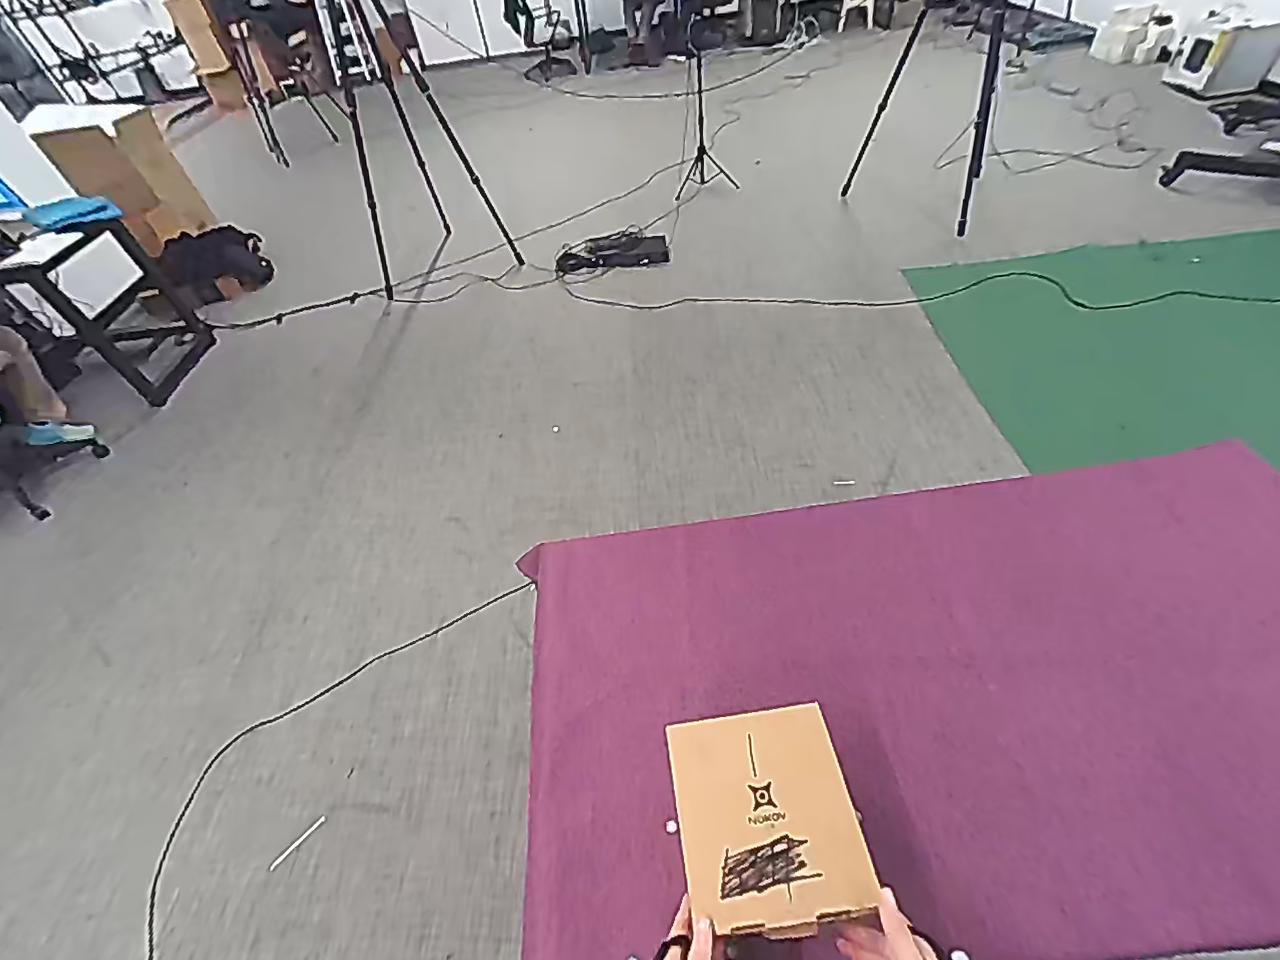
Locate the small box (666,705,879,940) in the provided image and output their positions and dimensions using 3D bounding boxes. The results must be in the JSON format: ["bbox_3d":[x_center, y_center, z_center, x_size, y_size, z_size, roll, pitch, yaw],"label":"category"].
[{"bbox_3d":[0.125,0.365,0.571,0.168,0.176,0.179,-9,46,1],"label":"small box"}]
